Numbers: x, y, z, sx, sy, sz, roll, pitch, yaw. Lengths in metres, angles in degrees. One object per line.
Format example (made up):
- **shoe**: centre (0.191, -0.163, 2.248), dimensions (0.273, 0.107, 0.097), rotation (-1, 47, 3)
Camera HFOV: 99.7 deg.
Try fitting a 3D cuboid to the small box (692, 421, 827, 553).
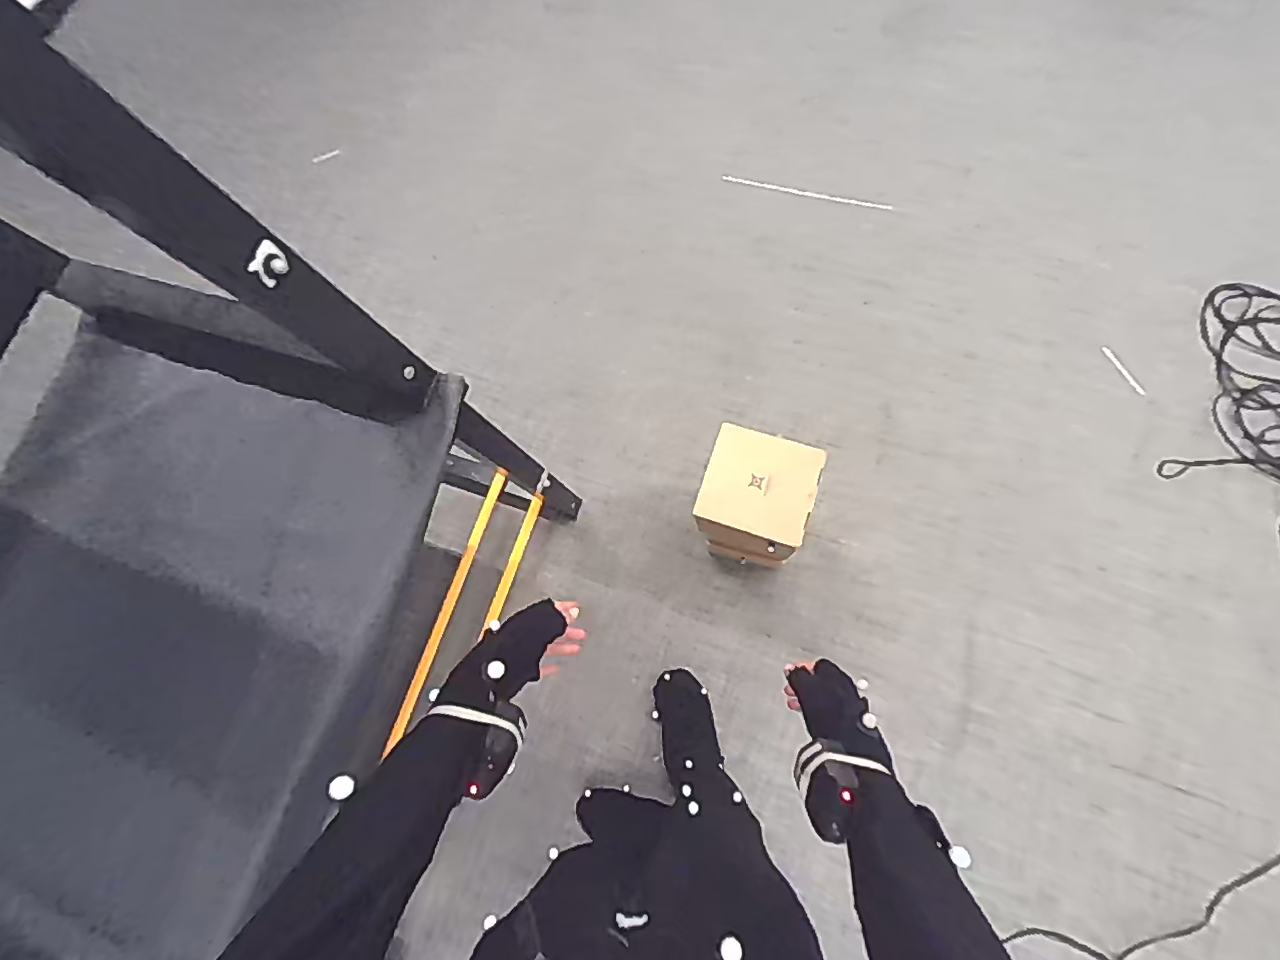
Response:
- **small box**: centre (0.200, 0.020, 0.929), dimensions (0.179, 0.176, 0.168), rotation (17, 80, 12)
